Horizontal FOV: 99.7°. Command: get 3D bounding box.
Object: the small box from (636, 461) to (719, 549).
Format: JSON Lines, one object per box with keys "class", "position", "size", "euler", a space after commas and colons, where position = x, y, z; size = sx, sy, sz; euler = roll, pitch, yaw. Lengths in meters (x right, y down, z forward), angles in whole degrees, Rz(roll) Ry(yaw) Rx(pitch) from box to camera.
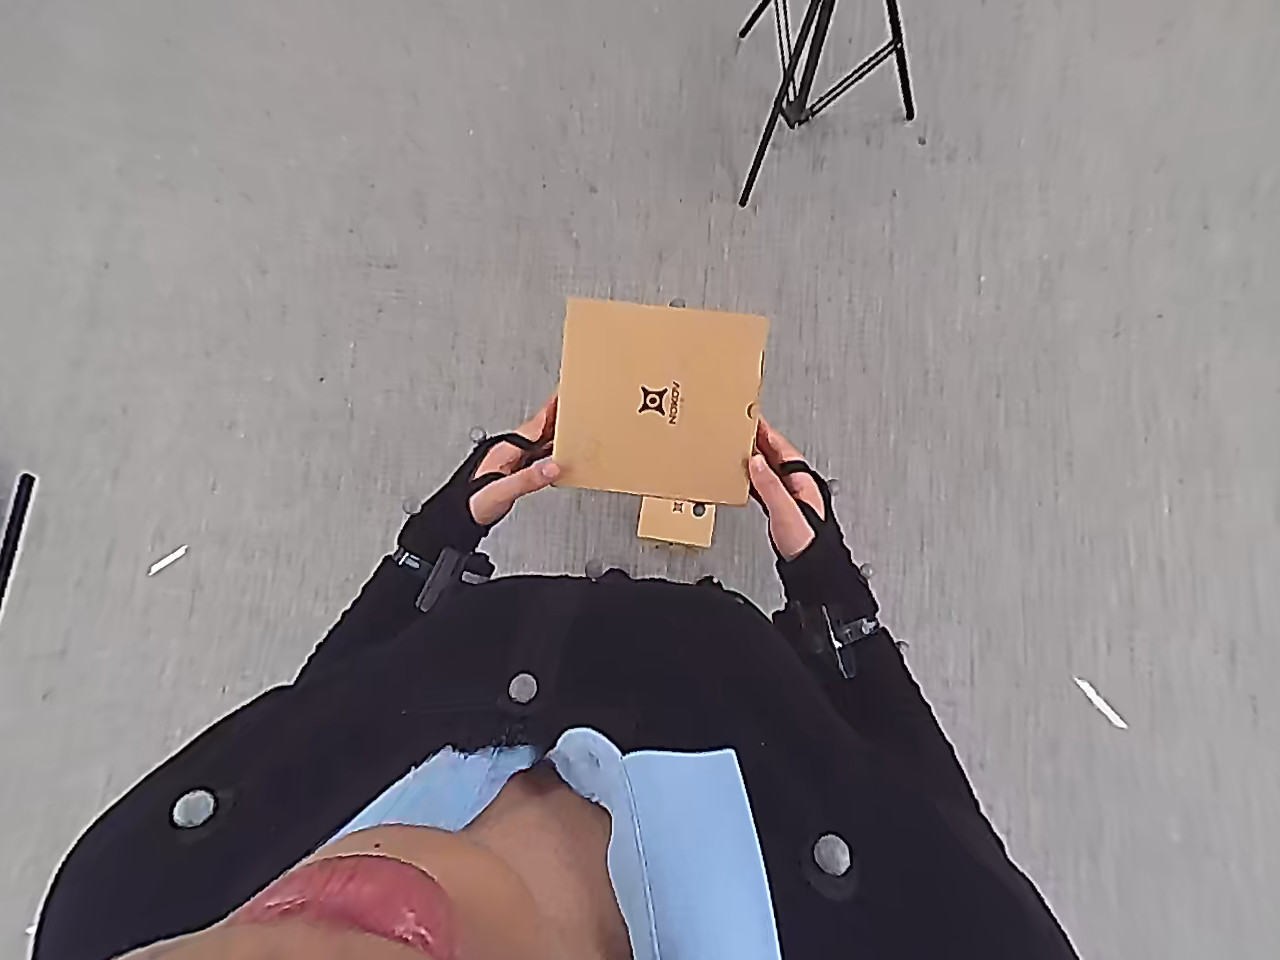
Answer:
{"class": "small box", "position": [0.090, 0.065, 1.281], "size": [0.168, 0.176, 0.179], "euler": [9, 81, 5]}
